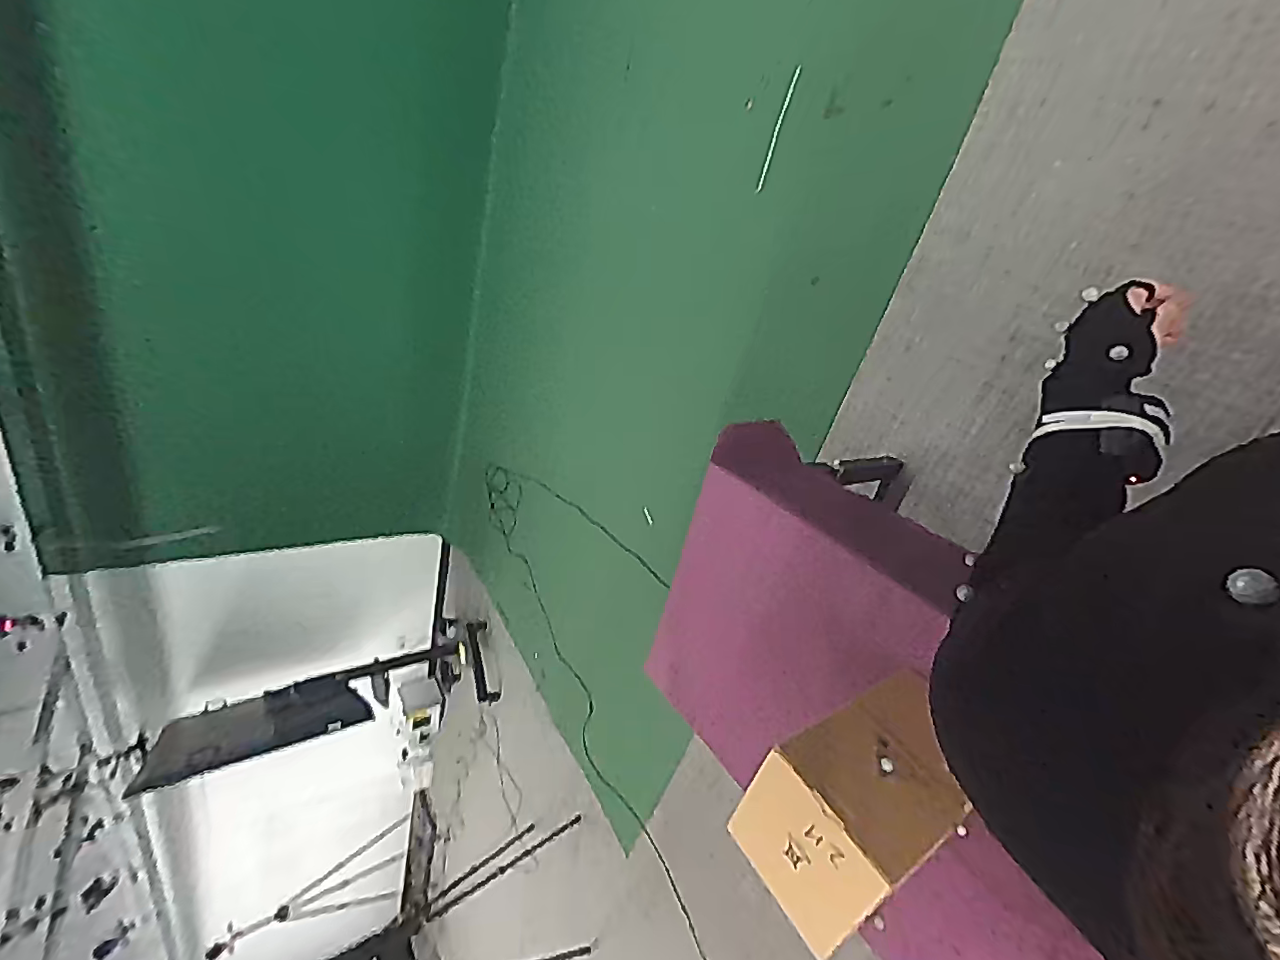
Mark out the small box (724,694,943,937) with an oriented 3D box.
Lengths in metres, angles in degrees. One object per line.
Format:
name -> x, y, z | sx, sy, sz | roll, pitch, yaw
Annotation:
small box -> 0.243, 0.410, 0.685 | 0.168, 0.176, 0.179 | 43, 127, 40
